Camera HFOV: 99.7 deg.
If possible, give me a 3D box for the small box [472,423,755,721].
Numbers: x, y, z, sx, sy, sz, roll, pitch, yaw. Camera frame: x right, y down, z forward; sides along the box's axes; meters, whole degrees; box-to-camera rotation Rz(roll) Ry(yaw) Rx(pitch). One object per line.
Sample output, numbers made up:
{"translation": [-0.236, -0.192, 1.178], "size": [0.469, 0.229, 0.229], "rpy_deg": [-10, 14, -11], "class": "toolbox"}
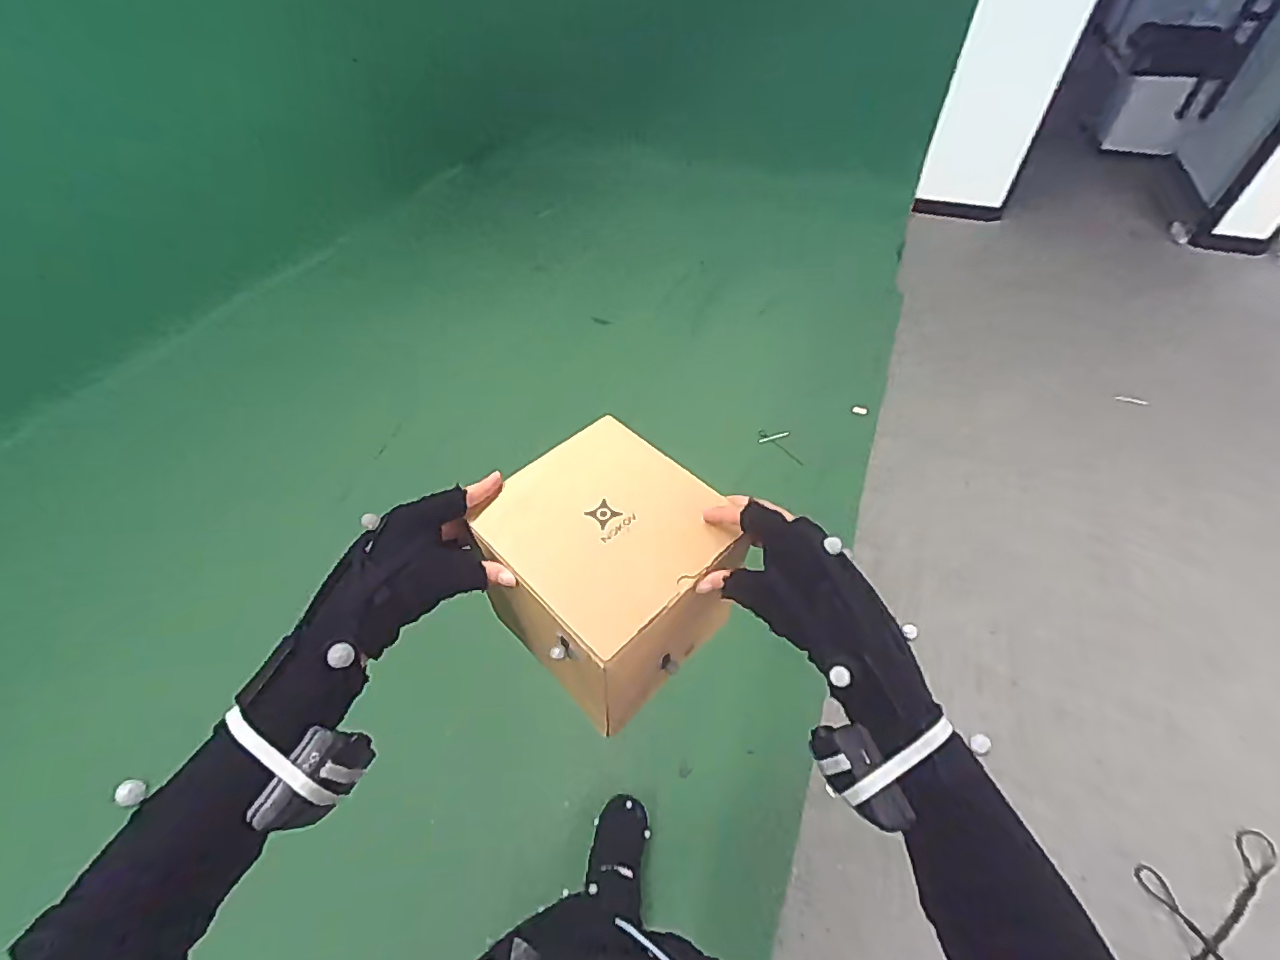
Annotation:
{"translation": [-0.024, 0.085, 0.501], "size": [0.179, 0.176, 0.168], "rpy_deg": [37, 58, 27], "class": "small box"}
